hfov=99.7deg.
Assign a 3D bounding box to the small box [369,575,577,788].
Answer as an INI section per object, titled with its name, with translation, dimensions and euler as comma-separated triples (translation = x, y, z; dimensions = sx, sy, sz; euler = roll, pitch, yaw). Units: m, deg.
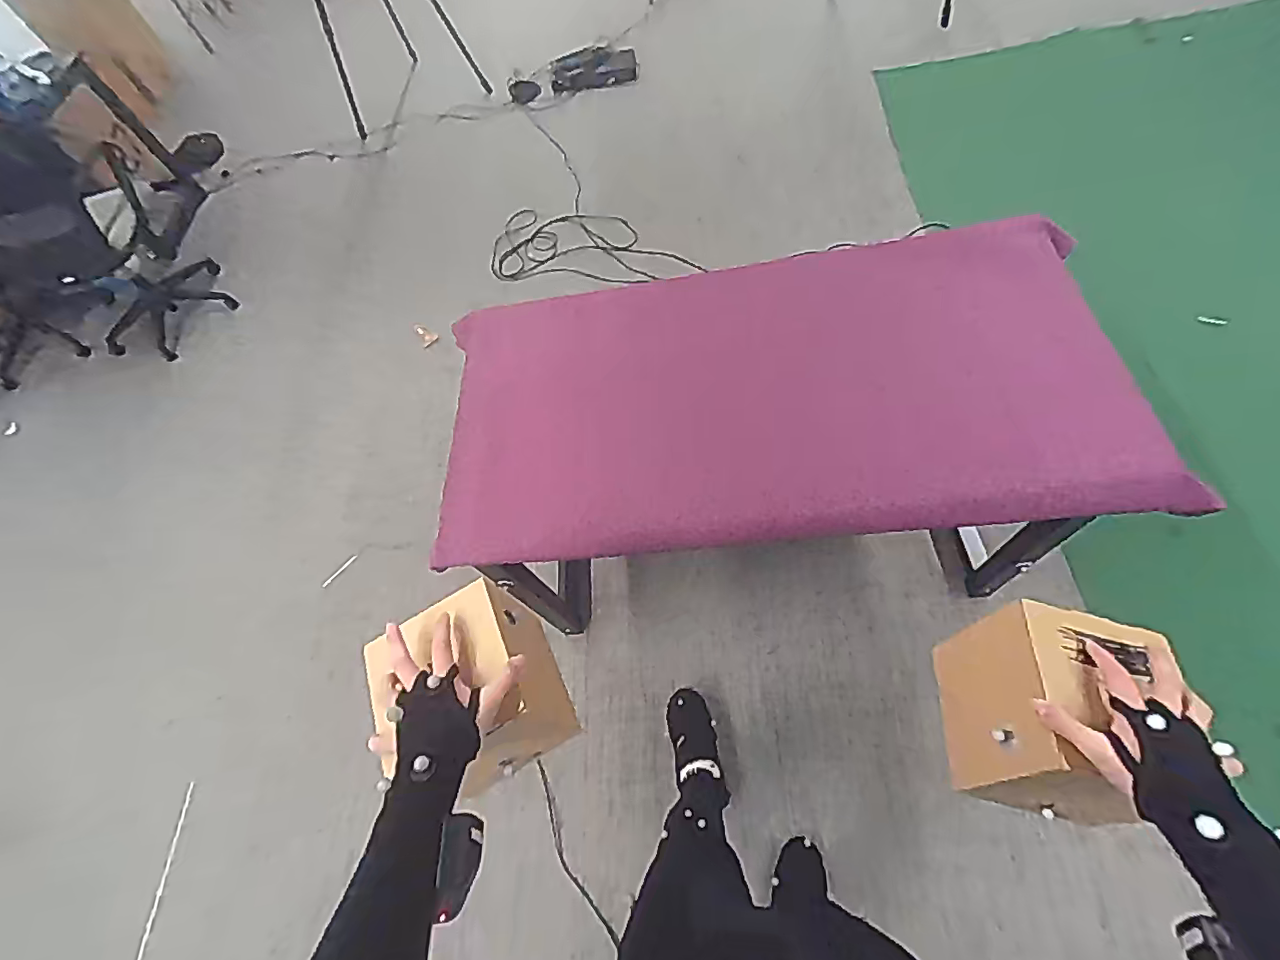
[small box]
translation = -0.202, 0.255, 0.673
dimensions = 0.168, 0.176, 0.179
euler = -30, 54, -1
